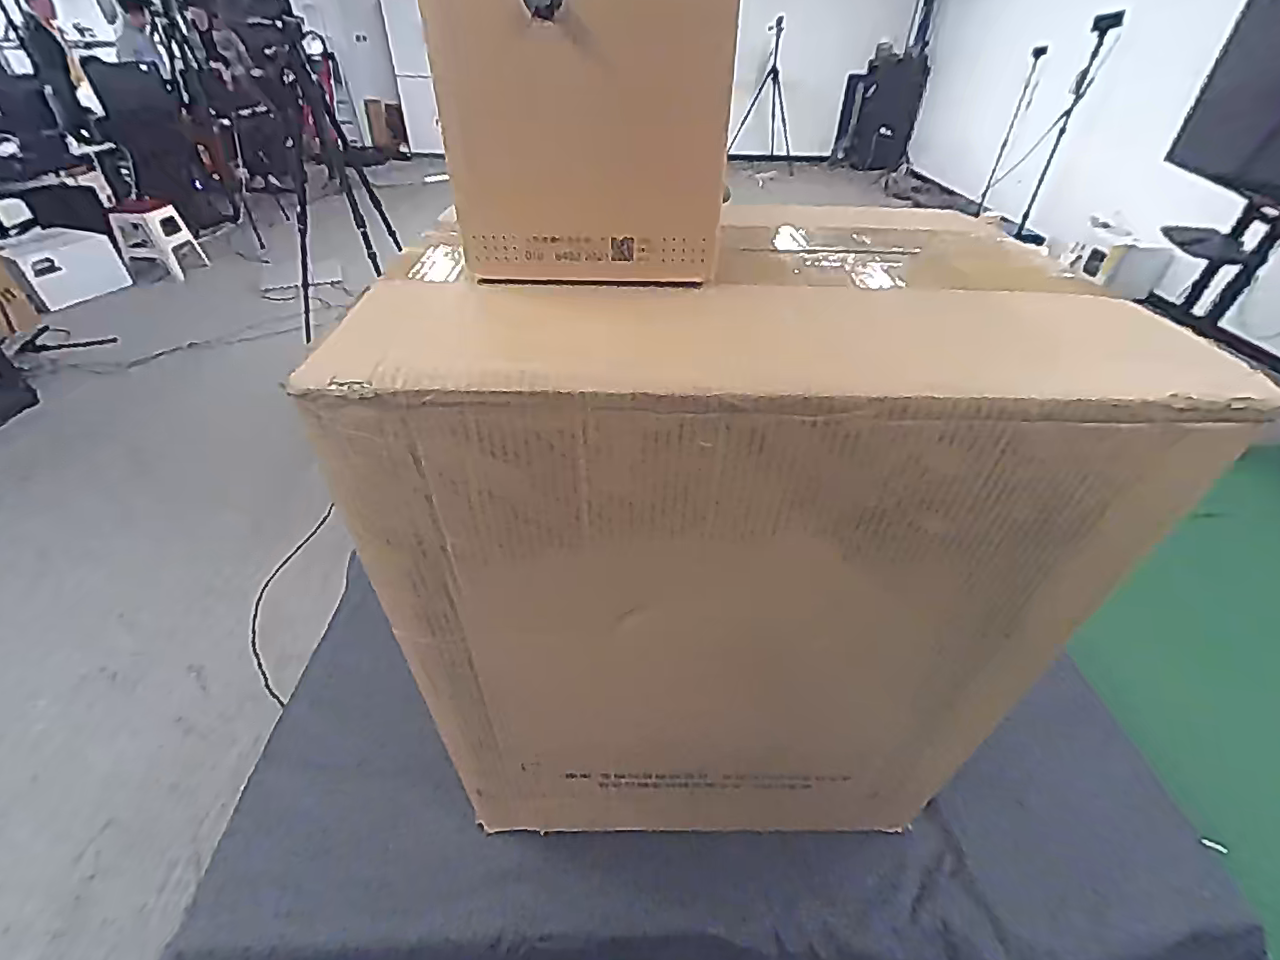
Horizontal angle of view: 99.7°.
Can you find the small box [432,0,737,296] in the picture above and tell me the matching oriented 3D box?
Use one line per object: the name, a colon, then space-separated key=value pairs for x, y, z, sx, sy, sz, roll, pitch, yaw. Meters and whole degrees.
small box: x=-0.031 y=-0.244 z=0.389 sx=0.168 sy=0.176 sz=0.179 roll=1 pitch=37 yaw=0
